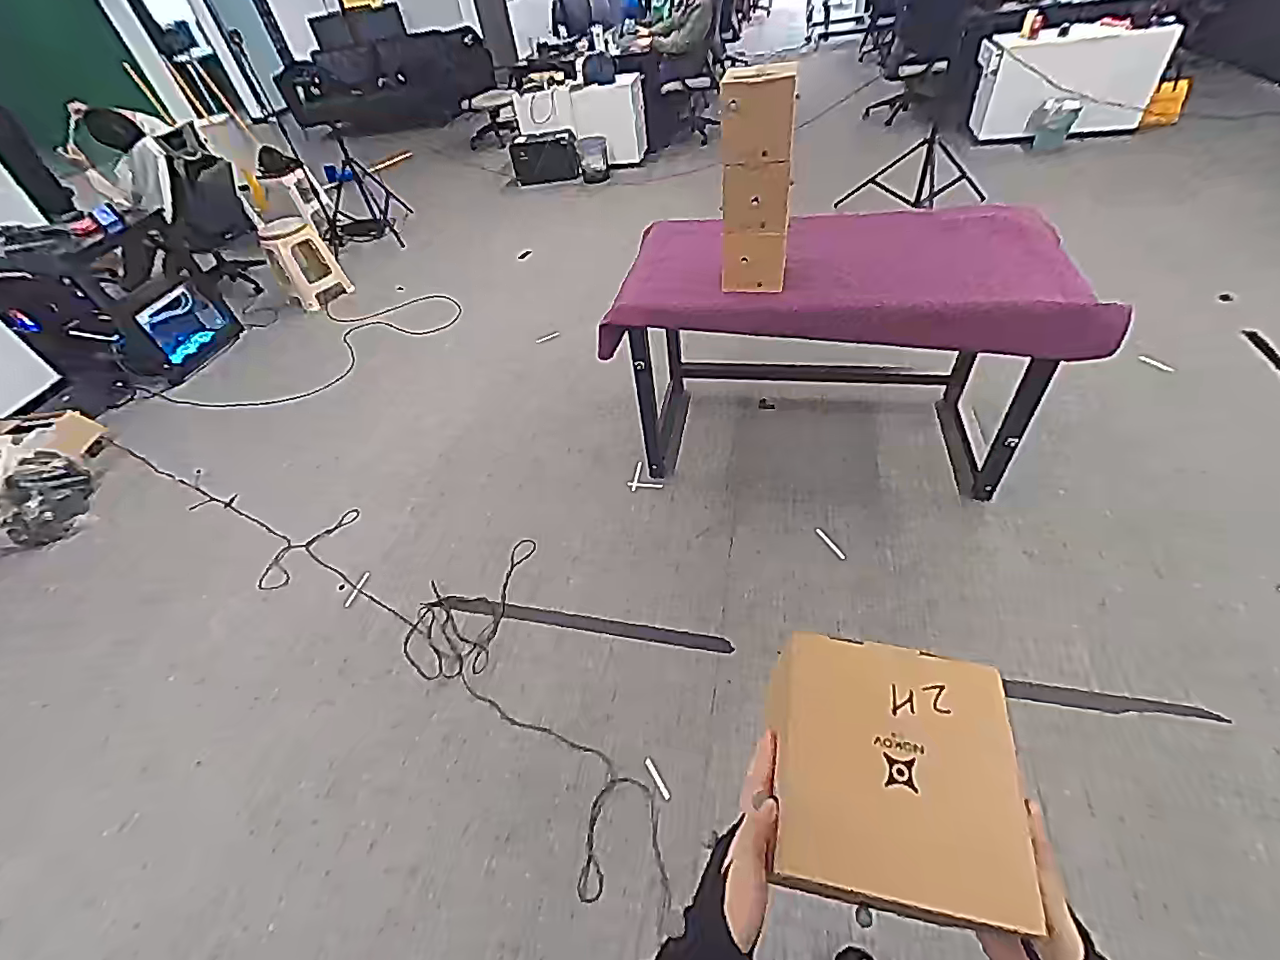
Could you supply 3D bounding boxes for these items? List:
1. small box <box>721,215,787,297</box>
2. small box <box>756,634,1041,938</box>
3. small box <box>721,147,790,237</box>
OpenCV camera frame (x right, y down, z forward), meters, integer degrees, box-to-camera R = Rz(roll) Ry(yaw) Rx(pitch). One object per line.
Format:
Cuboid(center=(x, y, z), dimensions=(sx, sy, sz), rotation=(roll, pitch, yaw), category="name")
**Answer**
Cuboid(center=(0.324, -0.636, 1.538), dimensions=(0.168, 0.176, 0.179), rotation=(5, 46, 14), category="small box")
Cuboid(center=(0.197, 0.261, 0.468), dimensions=(0.168, 0.176, 0.179), rotation=(8, 53, 8), category="small box")
Cuboid(center=(0.305, -0.755, 1.427), dimensions=(0.168, 0.176, 0.179), rotation=(4, 47, 12), category="small box")
